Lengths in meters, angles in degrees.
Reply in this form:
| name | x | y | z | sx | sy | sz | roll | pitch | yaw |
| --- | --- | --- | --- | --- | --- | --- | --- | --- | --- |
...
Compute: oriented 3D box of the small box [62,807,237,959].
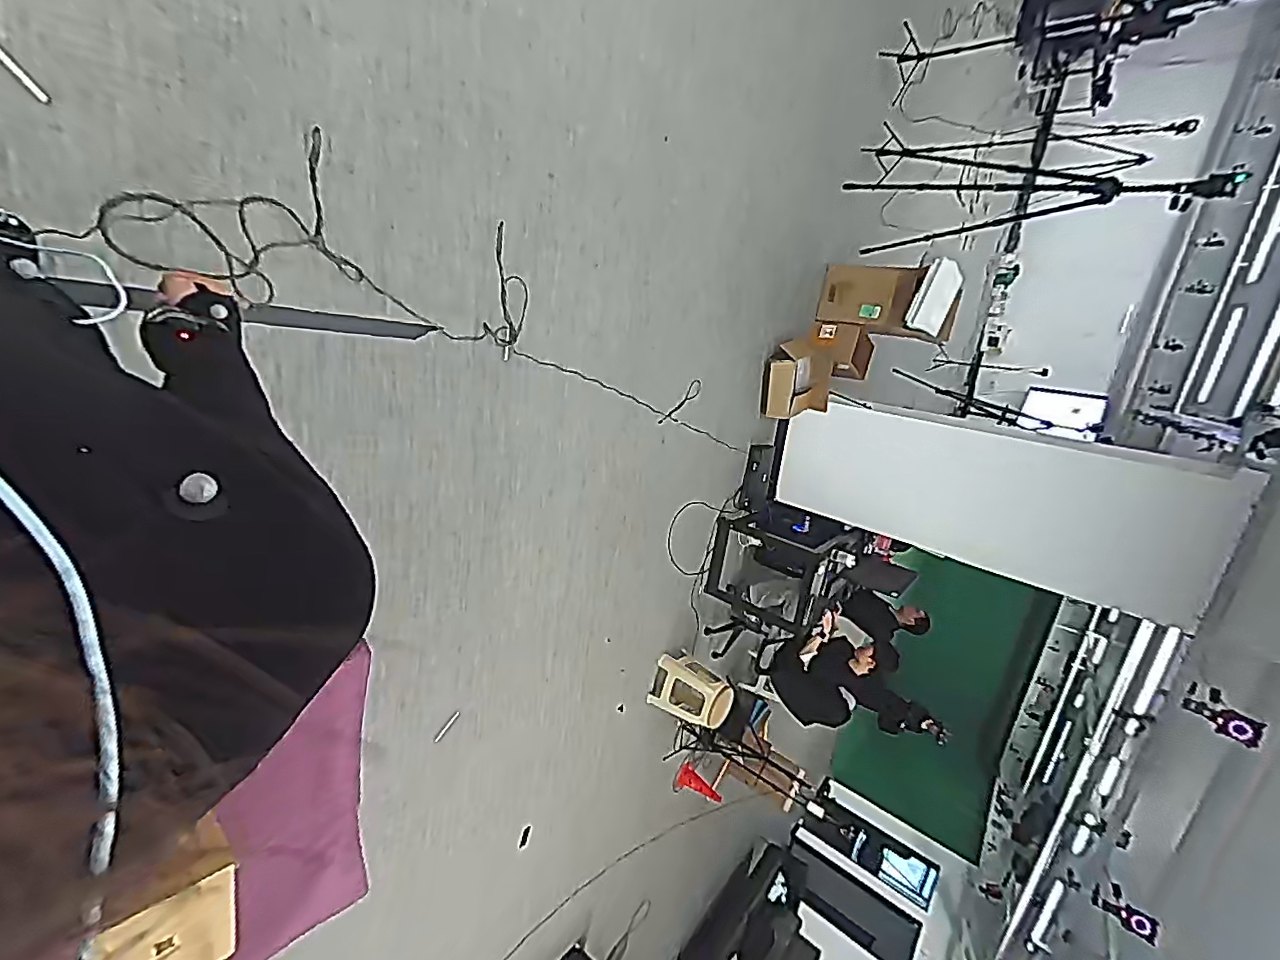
| name | x | y | z | sx | sy | sz | roll | pitch | yaw |
| --- | --- | --- | --- | --- | --- | --- | --- | --- | --- |
| small box | -0.724 | 0.628 | 0.801 | 0.168 | 0.176 | 0.179 | -7 | 111 | -51 |
